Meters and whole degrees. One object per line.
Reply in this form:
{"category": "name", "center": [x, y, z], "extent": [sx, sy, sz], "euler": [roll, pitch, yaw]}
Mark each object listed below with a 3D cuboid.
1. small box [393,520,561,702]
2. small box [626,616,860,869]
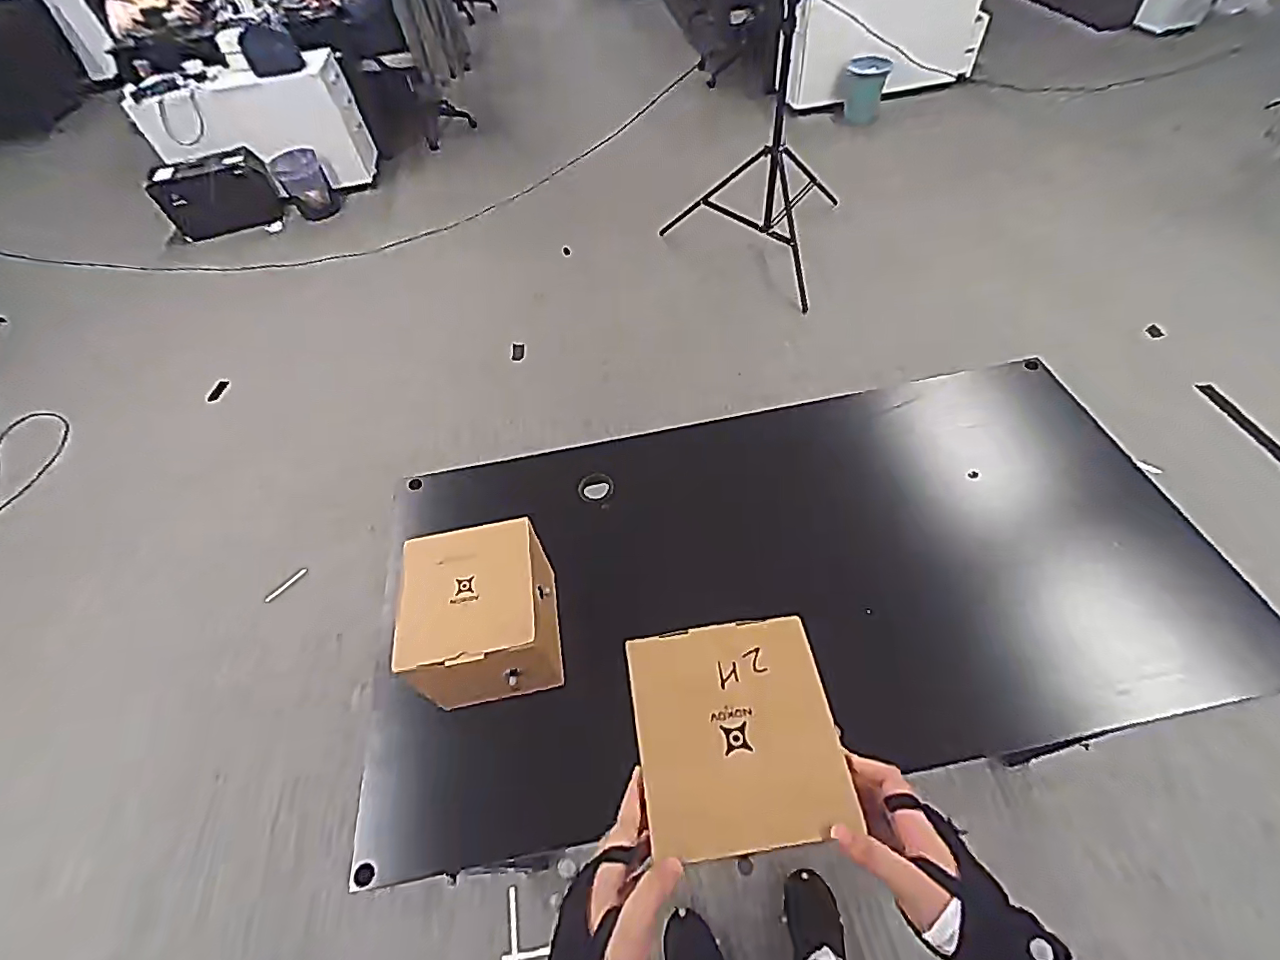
{"category": "small box", "center": [-0.206, 0.181, 0.721], "extent": [0.168, 0.176, 0.179], "euler": [-11, 53, -3]}
{"category": "small box", "center": [0.082, 0.253, 0.518], "extent": [0.168, 0.176, 0.179], "euler": [-8, 55, -2]}
